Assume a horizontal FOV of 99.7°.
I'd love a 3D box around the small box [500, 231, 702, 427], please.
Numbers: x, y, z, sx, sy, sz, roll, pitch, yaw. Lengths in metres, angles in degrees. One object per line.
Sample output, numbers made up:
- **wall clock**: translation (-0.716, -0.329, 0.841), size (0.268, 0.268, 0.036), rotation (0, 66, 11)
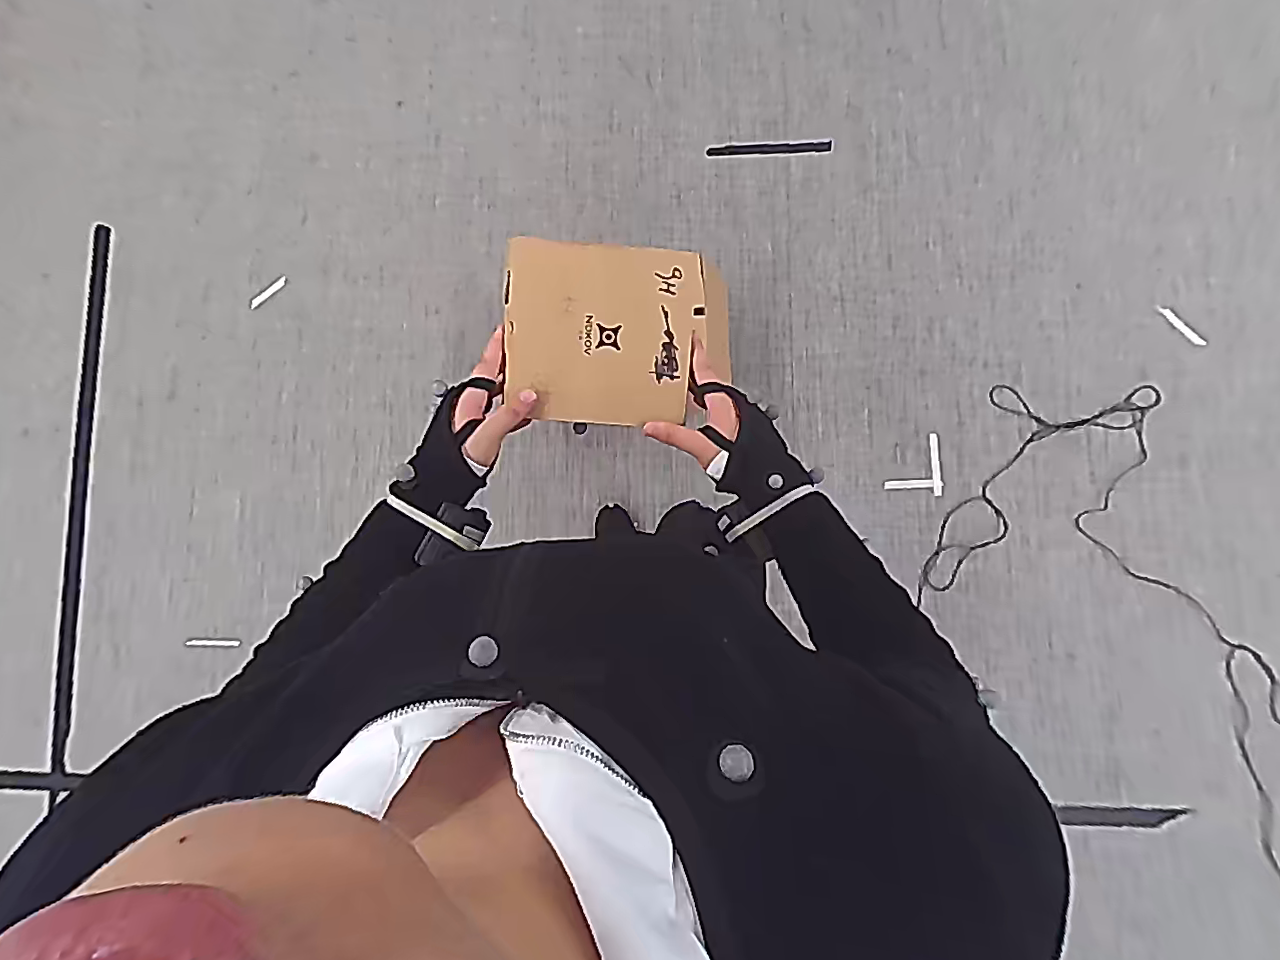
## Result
- **small box**: translation (-0.040, -0.144, 0.573), size (0.179, 0.176, 0.168), rotation (4, 96, -4)
